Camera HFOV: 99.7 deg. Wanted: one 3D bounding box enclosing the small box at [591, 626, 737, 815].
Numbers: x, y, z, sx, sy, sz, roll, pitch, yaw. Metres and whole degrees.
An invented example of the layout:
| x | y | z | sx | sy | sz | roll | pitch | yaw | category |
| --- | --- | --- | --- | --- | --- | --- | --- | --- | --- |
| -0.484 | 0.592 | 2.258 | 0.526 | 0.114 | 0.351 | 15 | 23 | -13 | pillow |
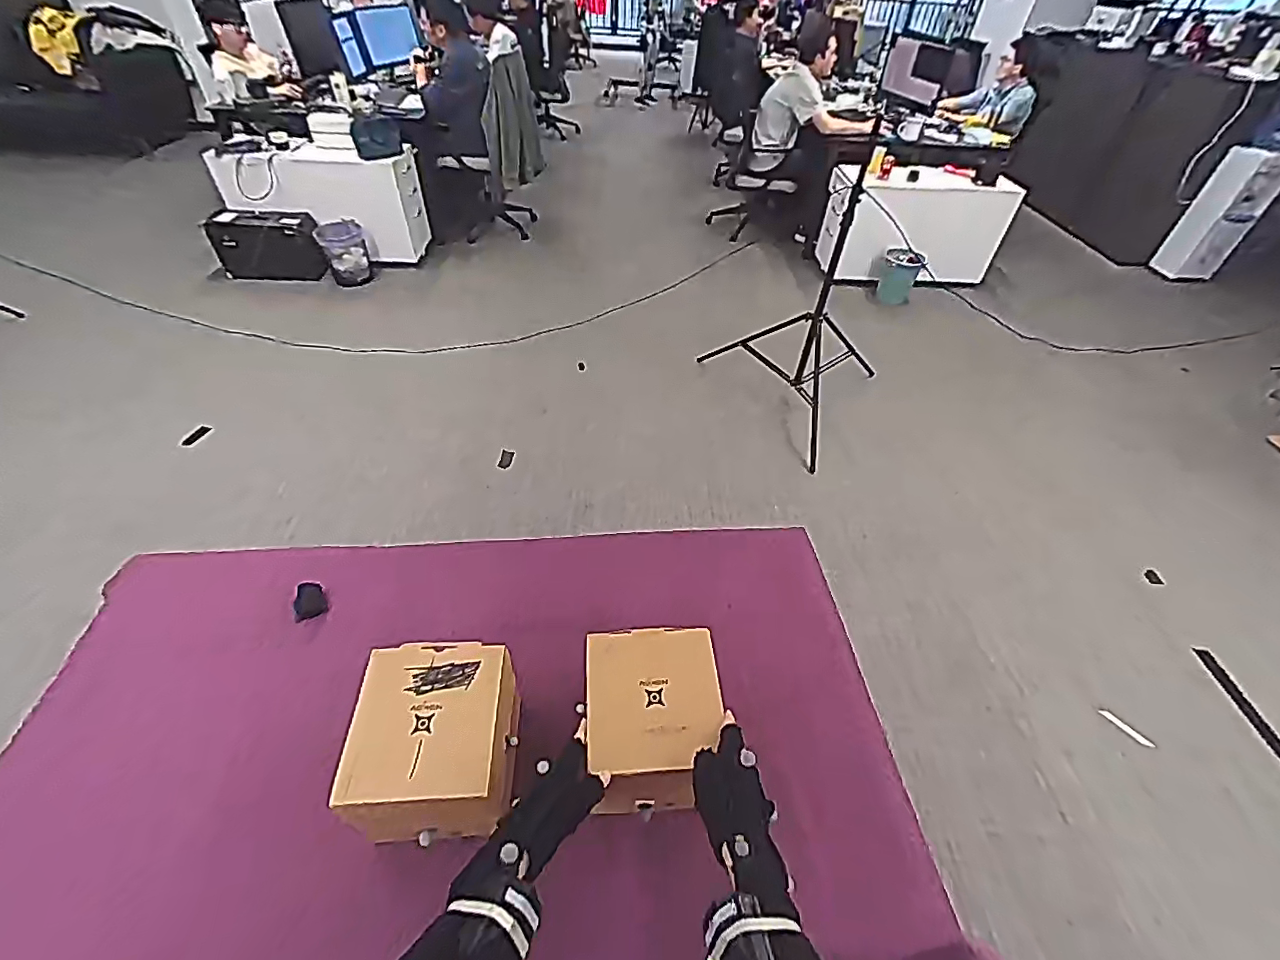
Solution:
| x | y | z | sx | sy | sz | roll | pitch | yaw | category |
| --- | --- | --- | --- | --- | --- | --- | --- | --- | --- |
| 0.019 | 0.316 | 0.714 | 0.168 | 0.176 | 0.179 | -3 | 45 | -5 | small box |

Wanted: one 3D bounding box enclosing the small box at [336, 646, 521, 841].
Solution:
| x | y | z | sx | sy | sz | roll | pitch | yaw | category |
| --- | --- | --- | --- | --- | --- | --- | --- | --- | --- |
| -0.245 | 0.330 | 0.681 | 0.168 | 0.176 | 0.179 | -1 | 45 | -5 | small box |
